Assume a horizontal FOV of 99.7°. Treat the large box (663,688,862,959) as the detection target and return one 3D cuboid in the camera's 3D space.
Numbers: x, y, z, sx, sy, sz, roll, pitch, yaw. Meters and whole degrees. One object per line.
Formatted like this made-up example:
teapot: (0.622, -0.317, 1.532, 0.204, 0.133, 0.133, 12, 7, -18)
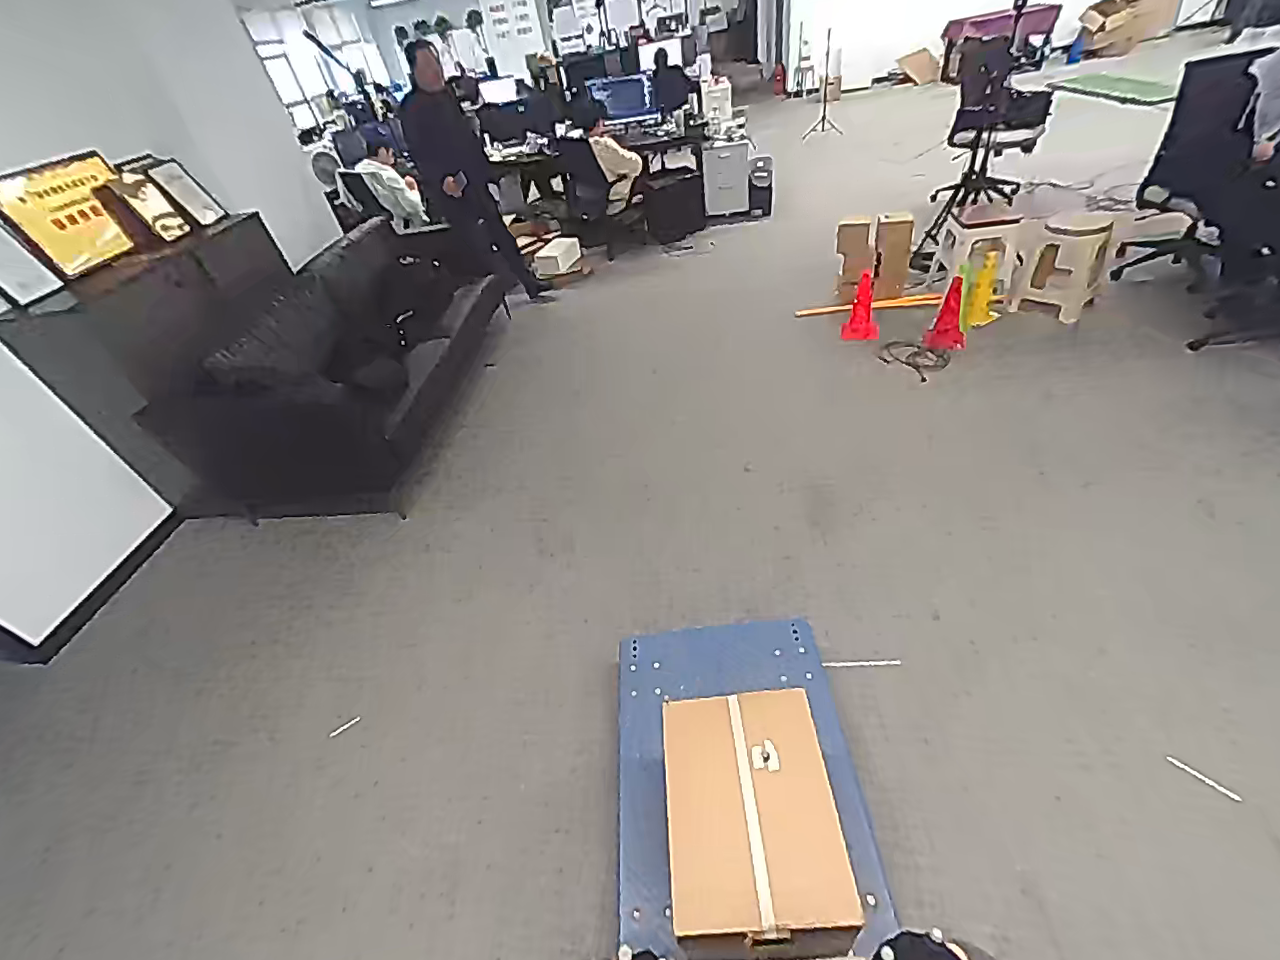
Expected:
large box: (0.234, 0.717, 1.138, 0.320, 0.320, 0.408, -8, 41, 5)
